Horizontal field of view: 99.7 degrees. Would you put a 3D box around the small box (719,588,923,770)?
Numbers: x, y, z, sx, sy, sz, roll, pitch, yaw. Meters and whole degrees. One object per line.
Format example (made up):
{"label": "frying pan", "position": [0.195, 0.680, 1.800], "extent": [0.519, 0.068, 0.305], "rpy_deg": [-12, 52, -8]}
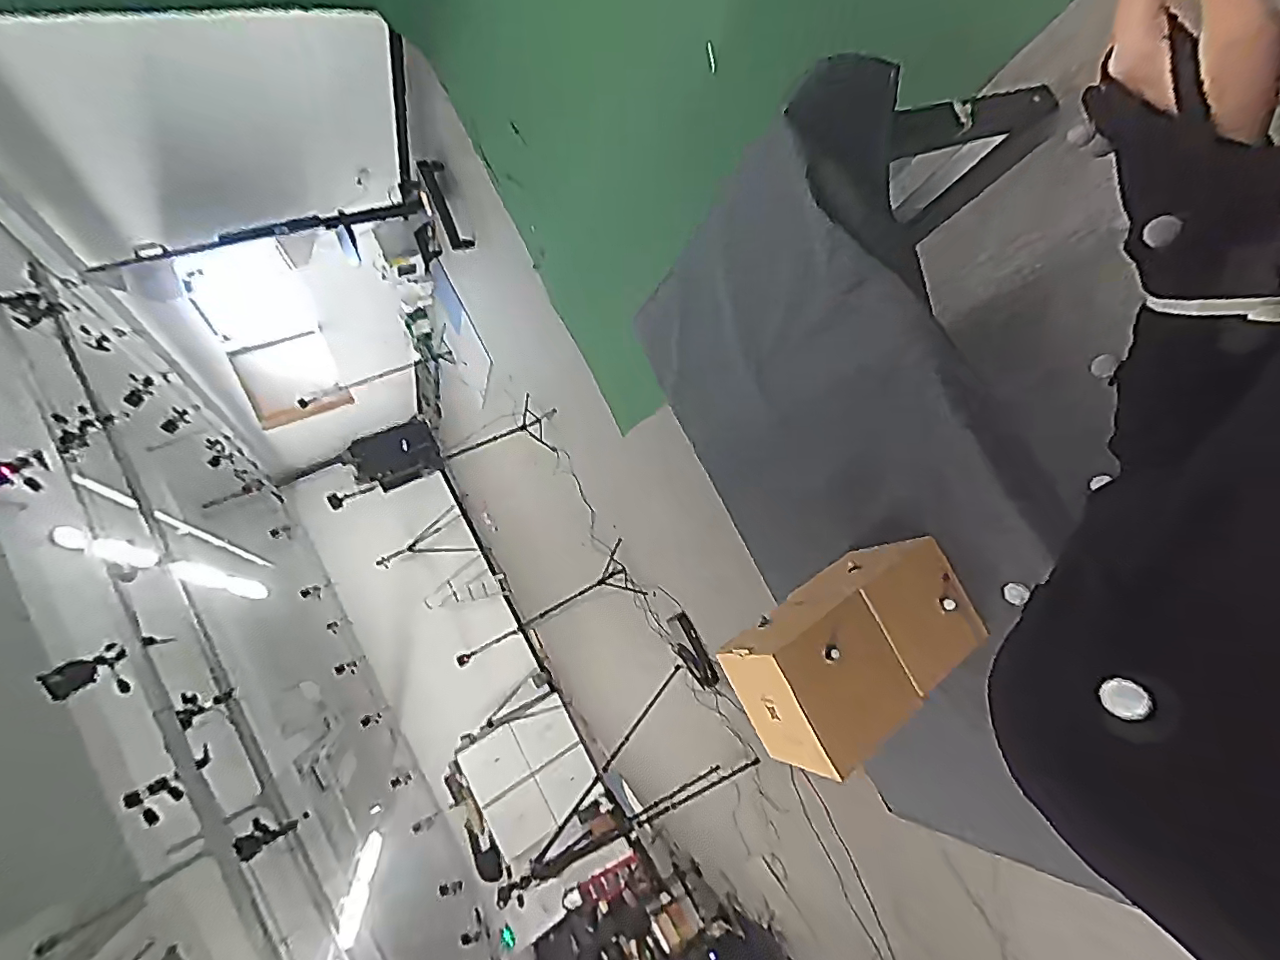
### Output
{"label": "small box", "position": [0.251, 0.266, 0.767], "extent": [0.179, 0.176, 0.168], "rpy_deg": [60, 156, 5]}

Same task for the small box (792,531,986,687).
{"label": "small box", "position": [0.380, 0.196, 0.837], "extent": [0.168, 0.176, 0.179], "rpy_deg": [62, 154, 4]}
